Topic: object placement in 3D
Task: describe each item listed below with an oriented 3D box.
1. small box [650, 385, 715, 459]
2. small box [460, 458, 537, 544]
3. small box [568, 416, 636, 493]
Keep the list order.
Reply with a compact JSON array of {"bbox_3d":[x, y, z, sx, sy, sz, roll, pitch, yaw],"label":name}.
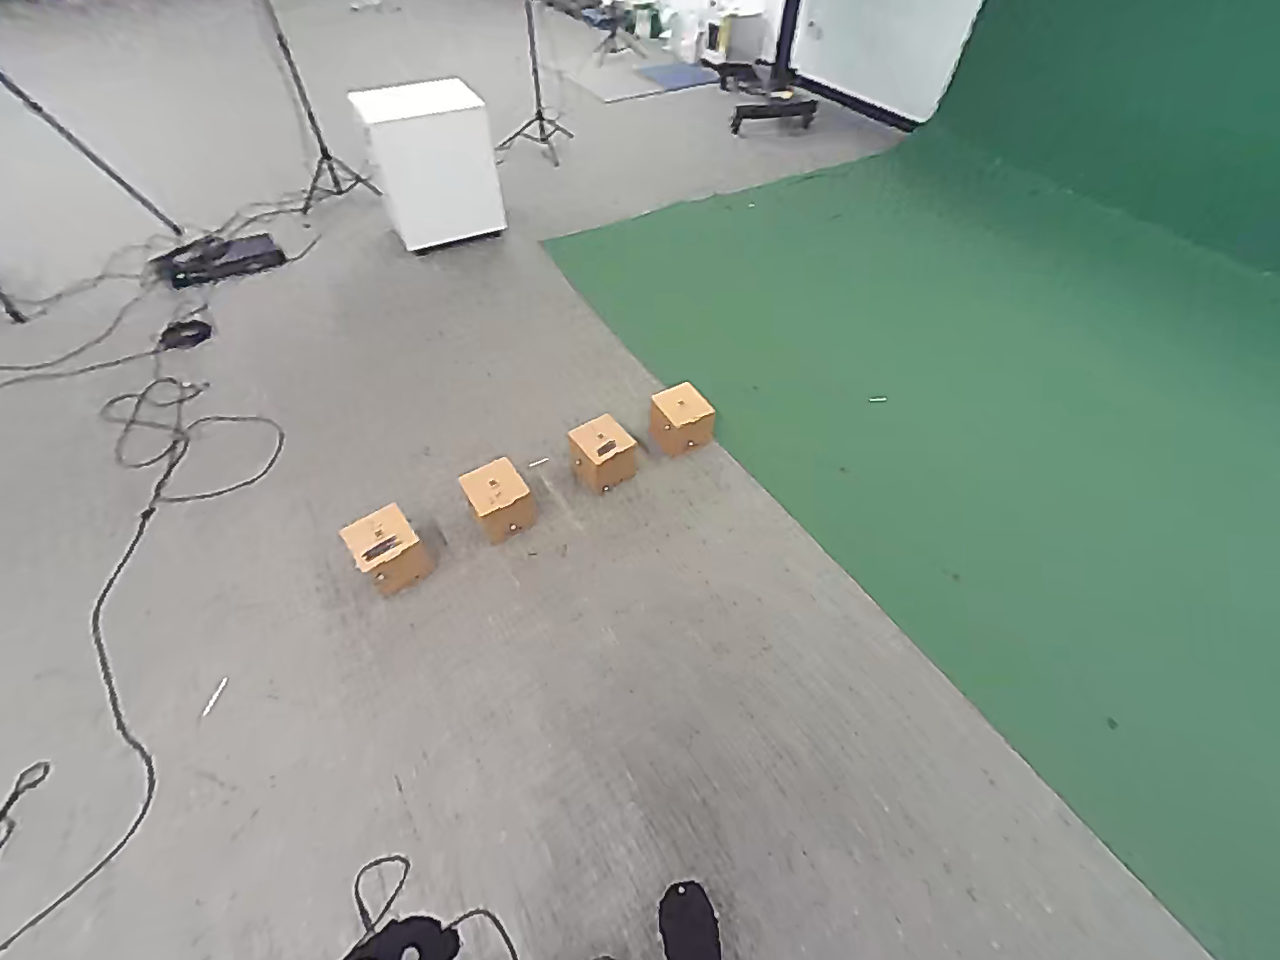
[{"bbox_3d":[0.146,-0.208,1.961,0.168,0.176,0.179,-25,57,-20],"label":"small box"},{"bbox_3d":[-0.442,0.070,1.704,0.168,0.176,0.179,-28,58,-21],"label":"small box"},{"bbox_3d":[-0.127,-0.080,1.843,0.168,0.176,0.179,-29,58,-24],"label":"small box"}]
